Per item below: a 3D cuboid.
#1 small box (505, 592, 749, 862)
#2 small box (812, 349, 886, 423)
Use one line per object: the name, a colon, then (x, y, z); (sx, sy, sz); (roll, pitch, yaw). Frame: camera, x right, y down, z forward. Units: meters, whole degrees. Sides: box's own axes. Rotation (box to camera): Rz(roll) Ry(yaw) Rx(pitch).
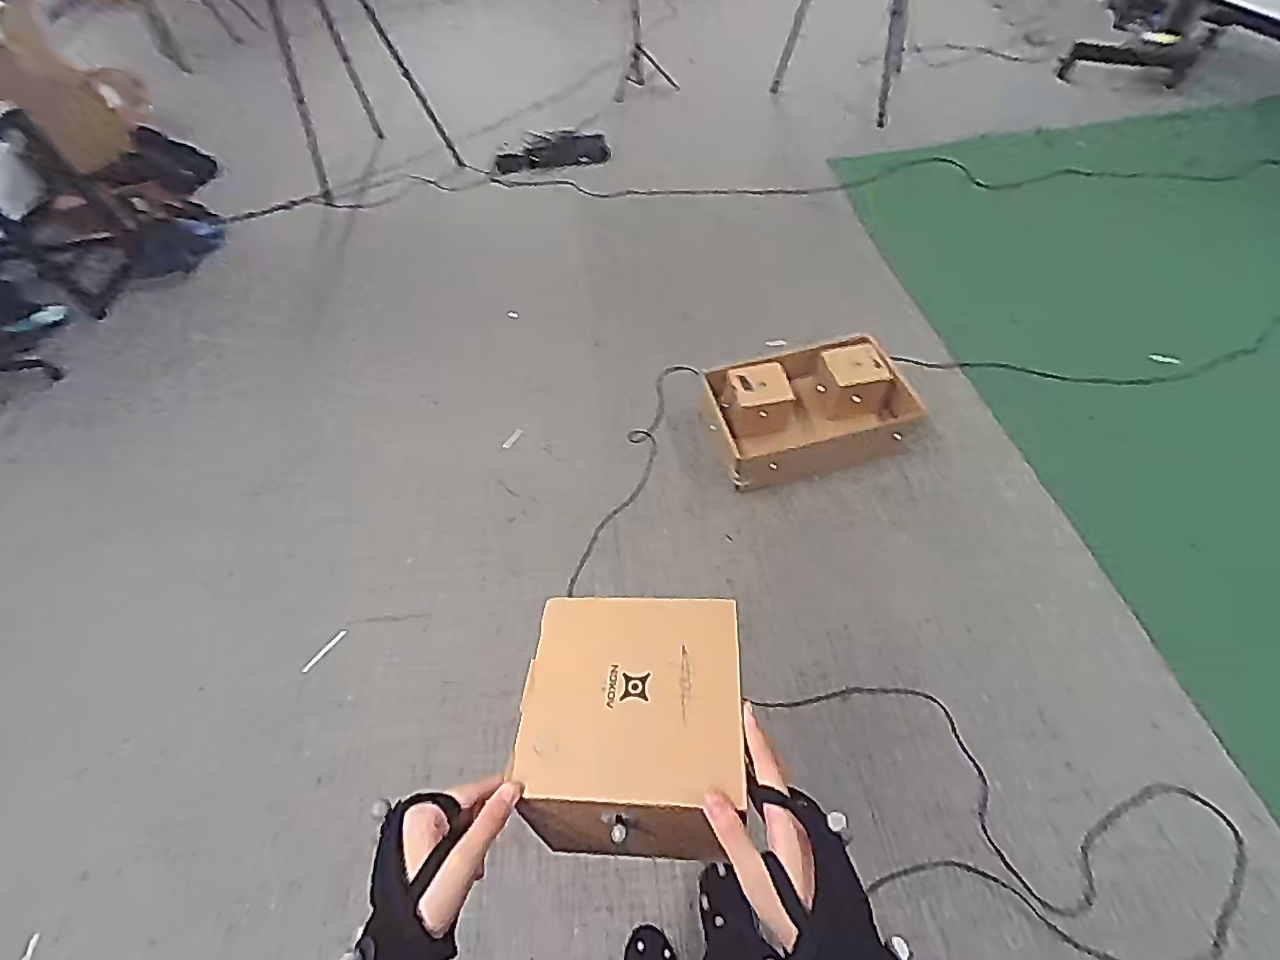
small box: (0.005, 0.218, 0.481); (0.179, 0.176, 0.168); (0, 43, 8)
small box: (0.690, -0.311, 1.817); (0.179, 0.176, 0.168); (-10, 55, -2)
